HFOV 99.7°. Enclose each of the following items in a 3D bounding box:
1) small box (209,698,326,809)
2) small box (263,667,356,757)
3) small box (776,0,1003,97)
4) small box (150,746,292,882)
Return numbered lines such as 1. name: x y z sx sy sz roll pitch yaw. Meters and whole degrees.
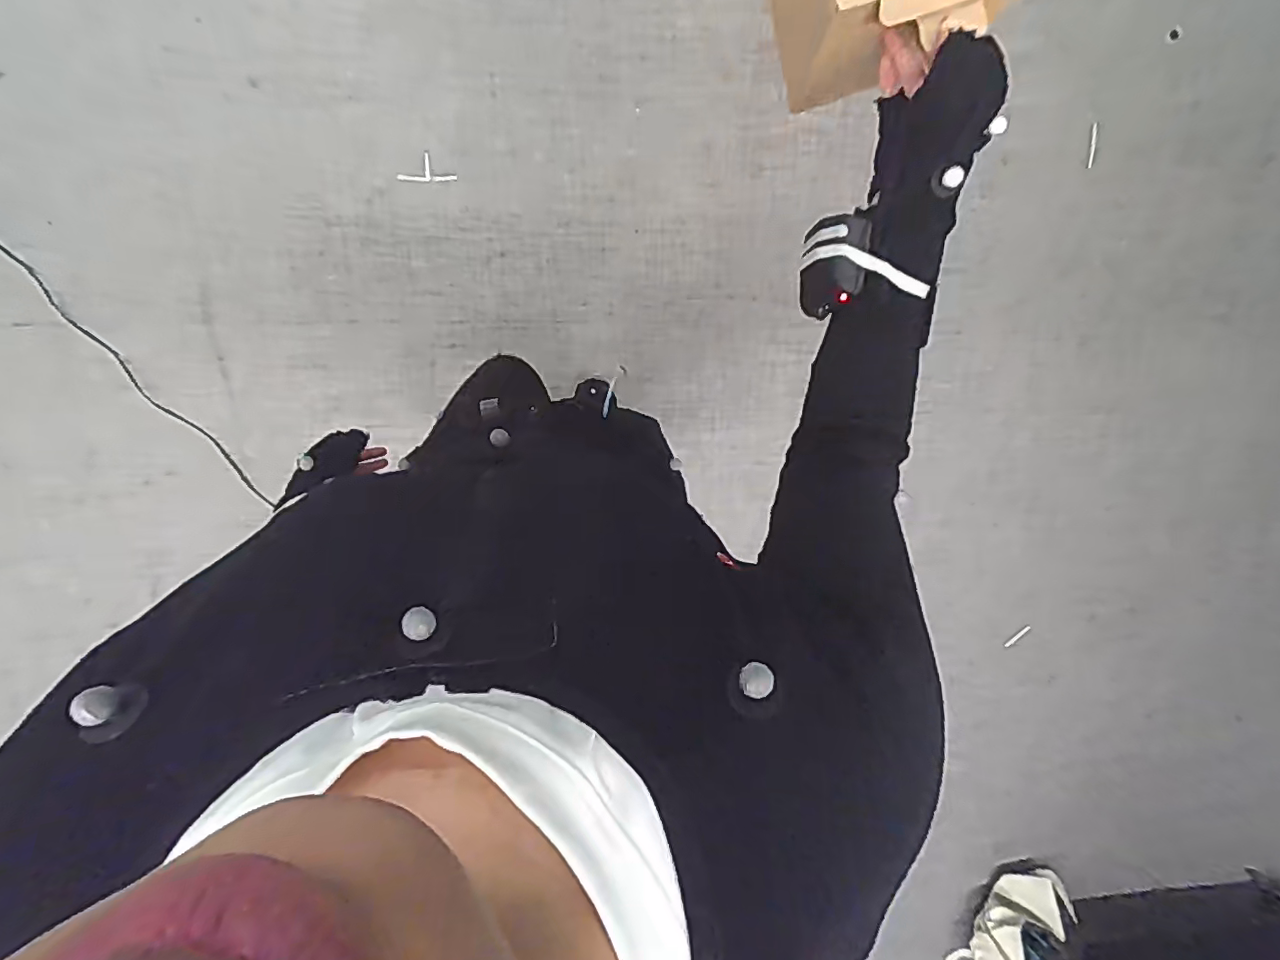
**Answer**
1. small box: -0.865 0.641 1.272 0.168 0.176 0.179 2 100 -6
2. small box: -0.874 0.611 1.434 0.179 0.176 0.168 1 100 -6
3. small box: 0.202 -0.457 0.430 0.168 0.176 0.179 -13 102 7
4. small box: -0.849 0.680 1.115 0.168 0.176 0.179 1 100 -6
